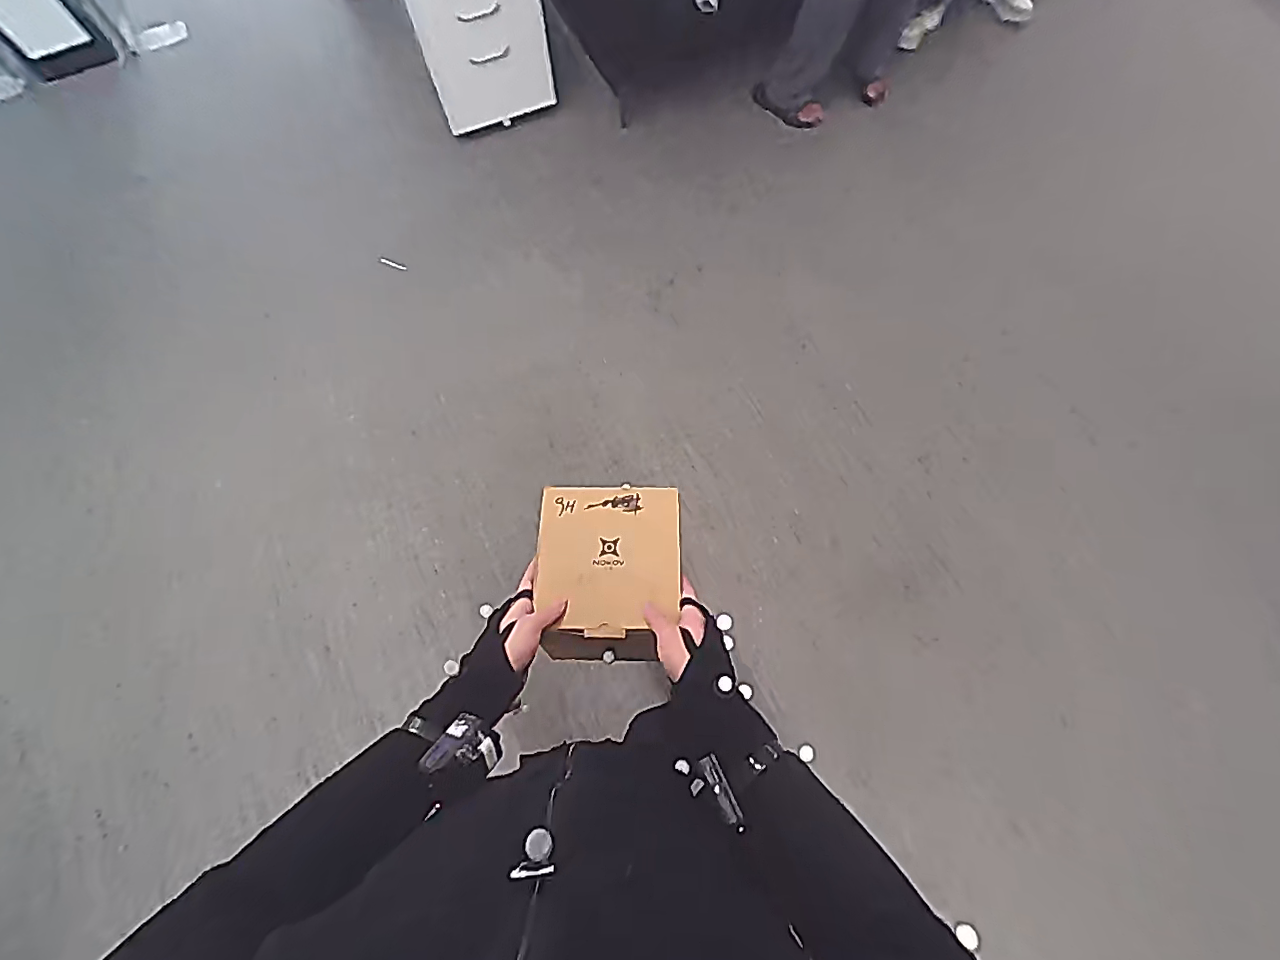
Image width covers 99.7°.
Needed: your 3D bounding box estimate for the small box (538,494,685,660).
[{"bbox_3d":[-0.030,0.133,0.698,0.168,0.176,0.179,-2,62,0],"label":"small box"}]
